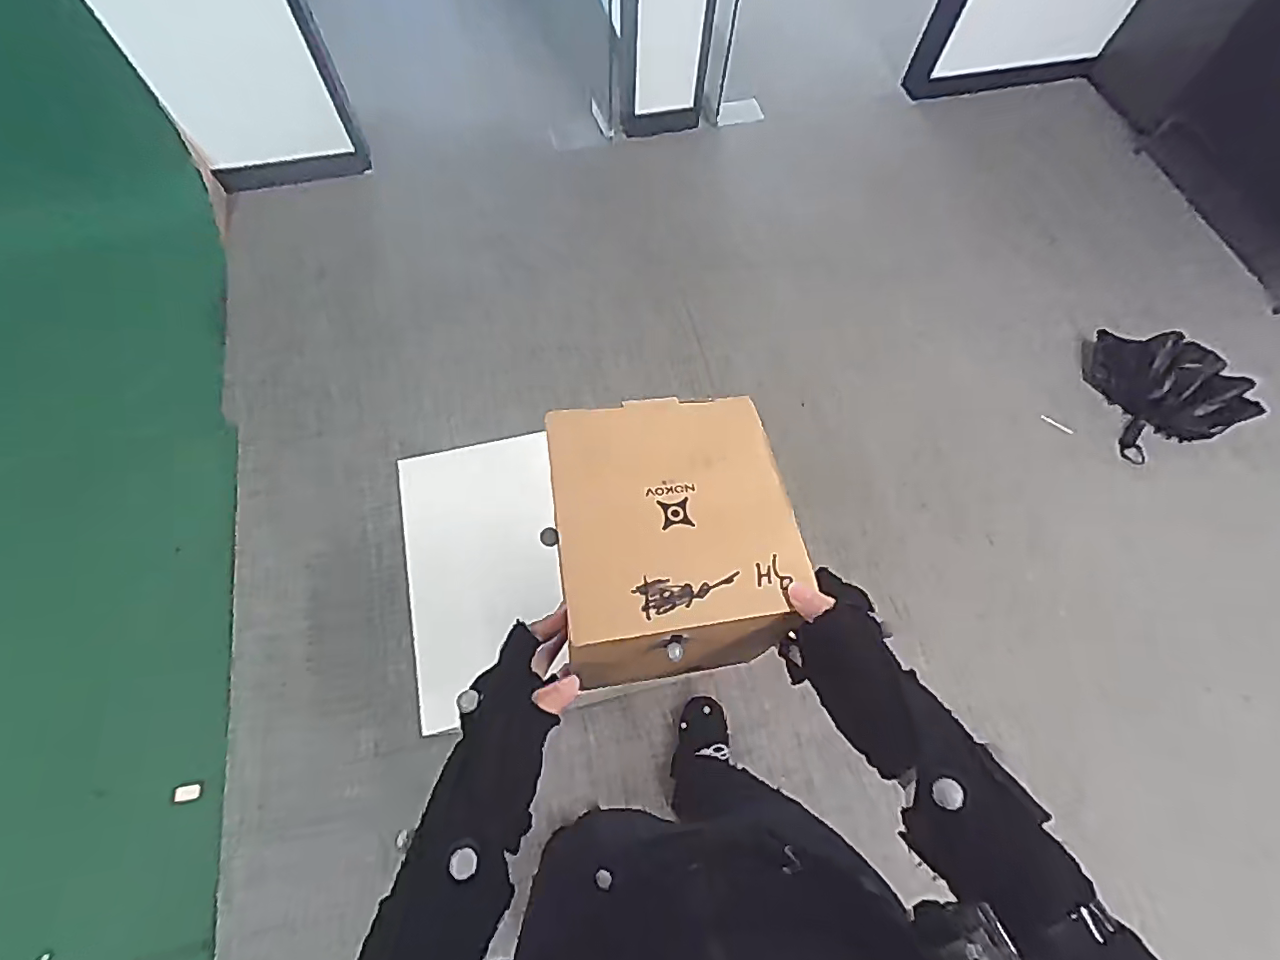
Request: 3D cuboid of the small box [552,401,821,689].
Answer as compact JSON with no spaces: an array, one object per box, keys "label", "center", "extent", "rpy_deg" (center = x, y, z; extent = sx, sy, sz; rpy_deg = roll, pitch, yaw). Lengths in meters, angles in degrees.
[{"label":"small box","center":[0.018,0.058,0.451],"extent":[0.168,0.176,0.179],"rpy_deg":[-7,61,-9]}]
